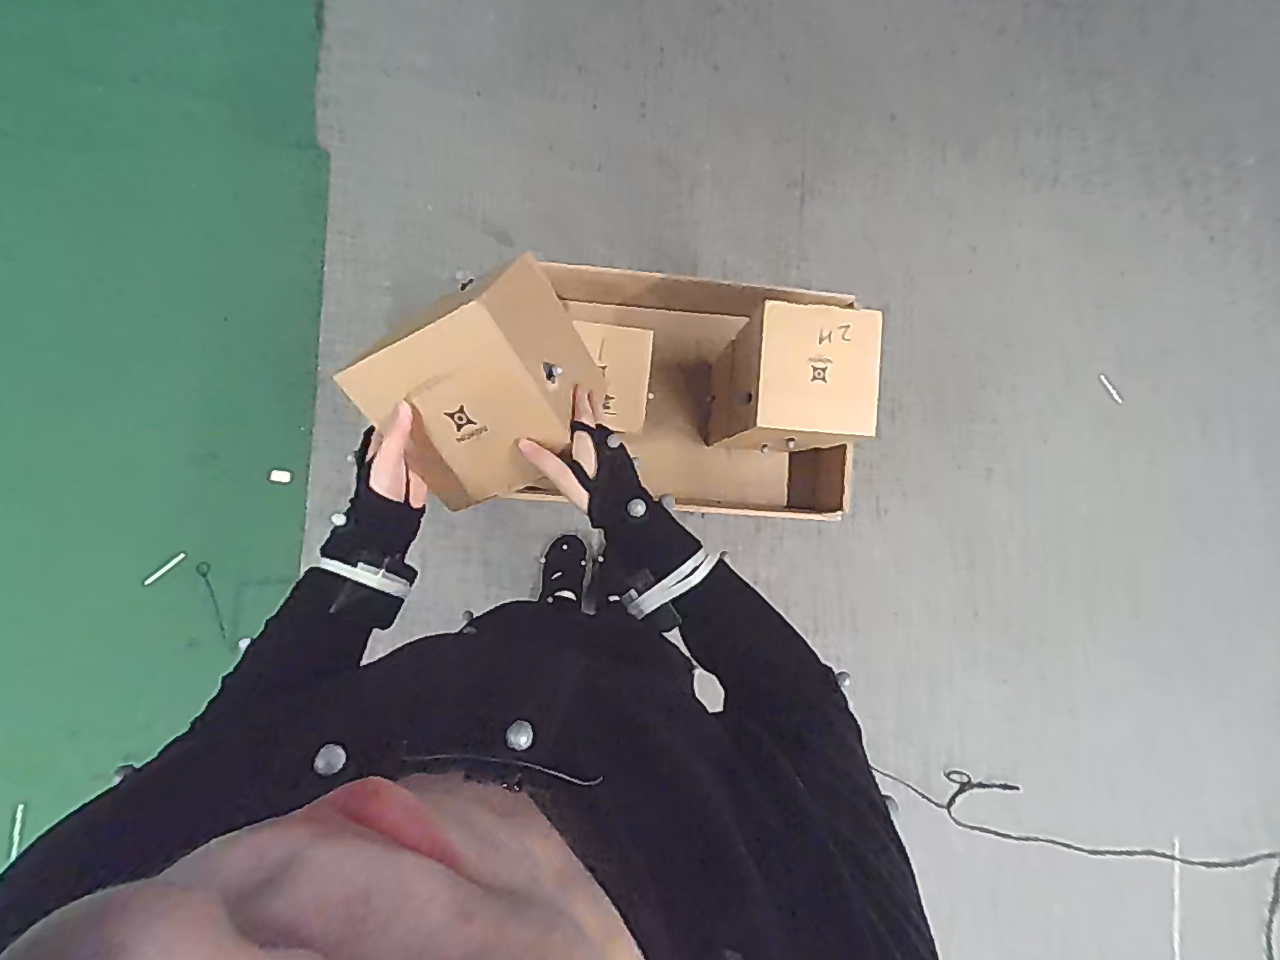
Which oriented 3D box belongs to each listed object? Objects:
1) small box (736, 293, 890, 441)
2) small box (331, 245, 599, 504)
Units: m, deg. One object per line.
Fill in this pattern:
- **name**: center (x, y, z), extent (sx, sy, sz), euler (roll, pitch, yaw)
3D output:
- **small box**: center (0.244, -0.155, 0.801), extent (0.168, 0.176, 0.179), euler (5, 89, -3)
- **small box**: center (-0.158, -0.109, 0.557), extent (0.168, 0.176, 0.179), euler (-19, 123, 19)
